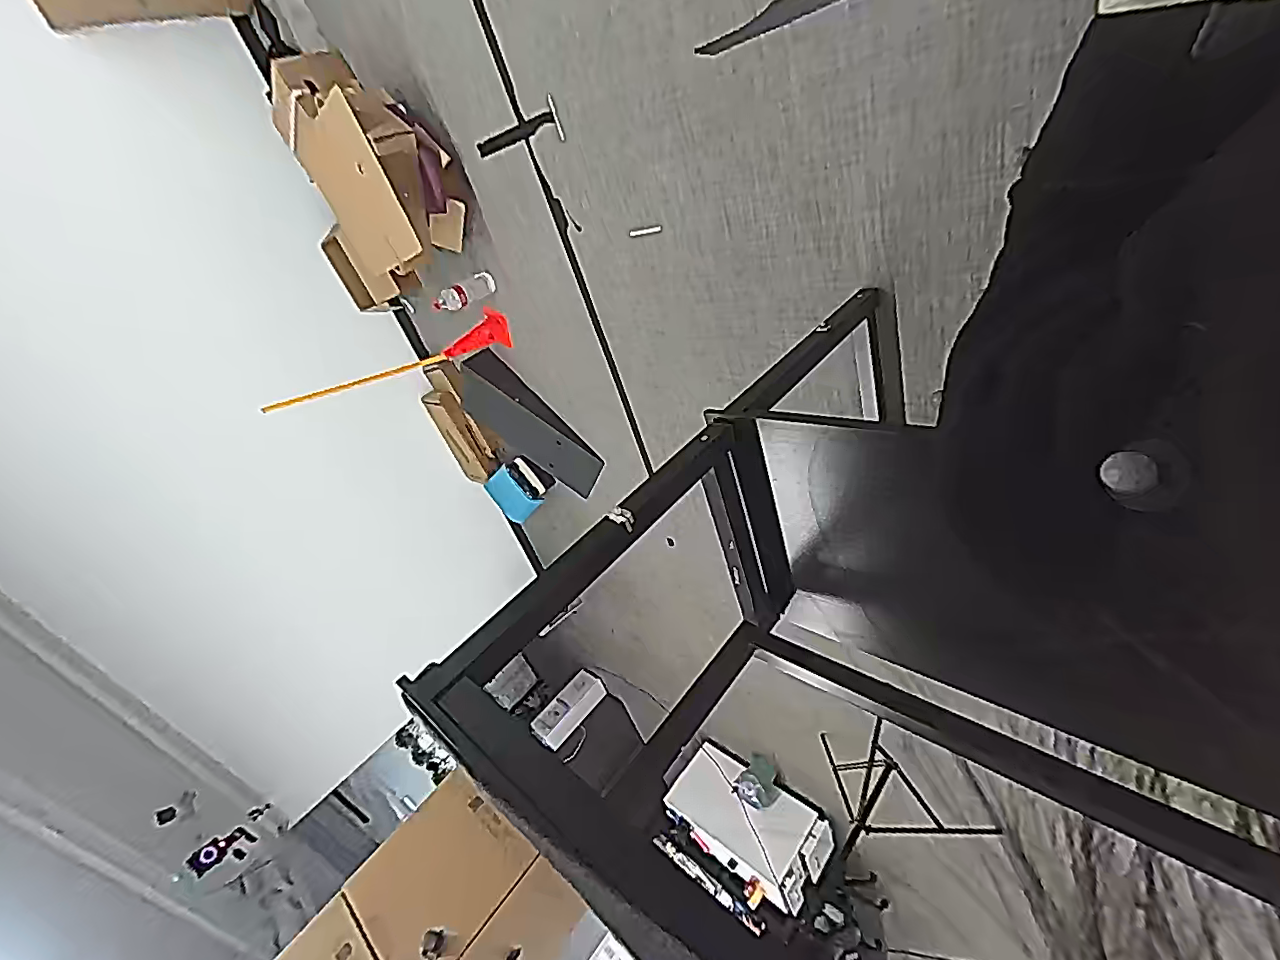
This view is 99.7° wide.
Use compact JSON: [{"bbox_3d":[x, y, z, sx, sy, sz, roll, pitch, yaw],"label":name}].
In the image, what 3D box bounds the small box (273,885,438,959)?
[{"bbox_3d":[-0.290,0.567,0.545,0.168,0.176,0.179,17,138,40],"label":"small box"}]
